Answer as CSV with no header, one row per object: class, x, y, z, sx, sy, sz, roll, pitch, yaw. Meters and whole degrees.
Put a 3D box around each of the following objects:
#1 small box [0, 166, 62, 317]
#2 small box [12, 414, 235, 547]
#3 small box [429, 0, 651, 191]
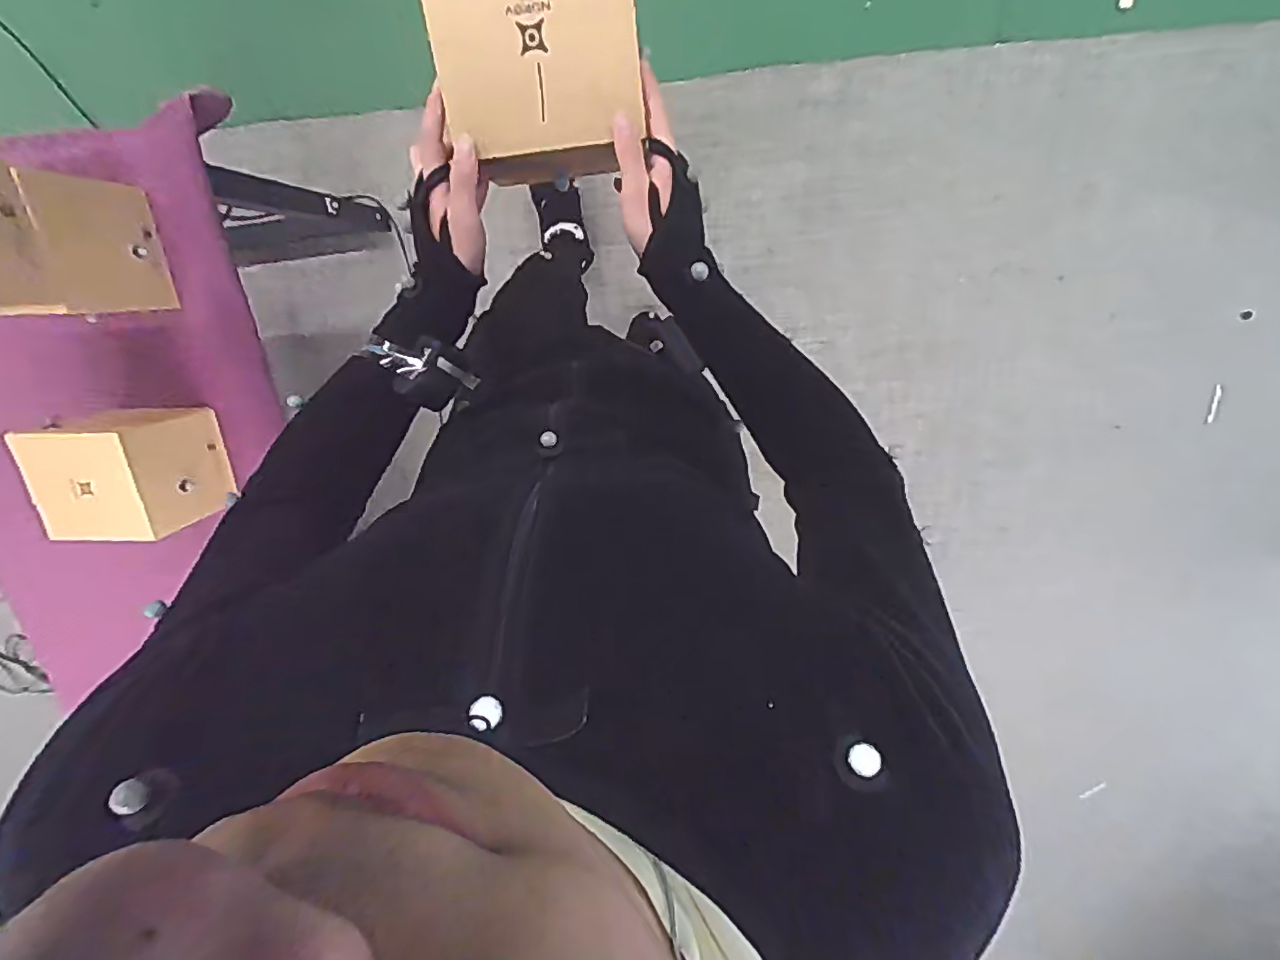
small box,-0.816,-0.259,0.586,0.179,0.176,0.168,-2,110,5
small box,-0.783,-0.006,0.849,0.179,0.176,0.168,0,109,6
small box,-0.082,-0.383,0.500,0.168,0.176,0.179,-6,113,2
